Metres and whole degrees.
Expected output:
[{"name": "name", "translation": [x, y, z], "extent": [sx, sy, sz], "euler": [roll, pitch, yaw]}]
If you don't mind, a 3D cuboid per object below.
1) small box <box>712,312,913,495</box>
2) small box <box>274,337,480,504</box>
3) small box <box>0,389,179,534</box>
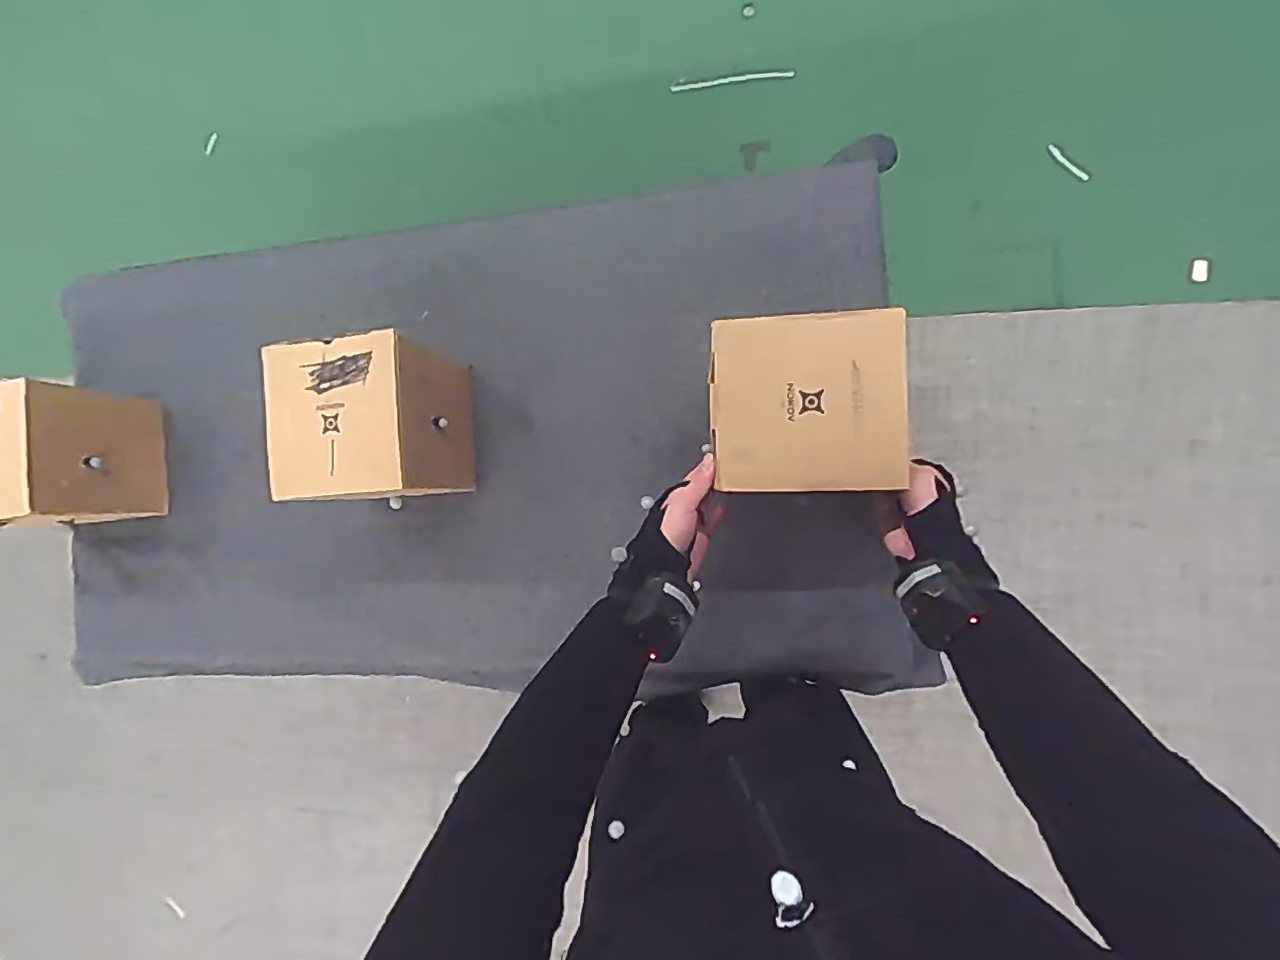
[{"name": "small box", "translation": [0.171, -0.067, 0.576], "extent": [0.179, 0.176, 0.168], "euler": [-2, 89, 10]}, {"name": "small box", "translation": [-0.314, -0.061, 0.672], "extent": [0.168, 0.176, 0.179], "euler": [-4, 88, 11]}, {"name": "small box", "translation": [-0.803, -0.020, 0.768], "extent": [0.168, 0.176, 0.179], "euler": [-7, 87, 10]}]
